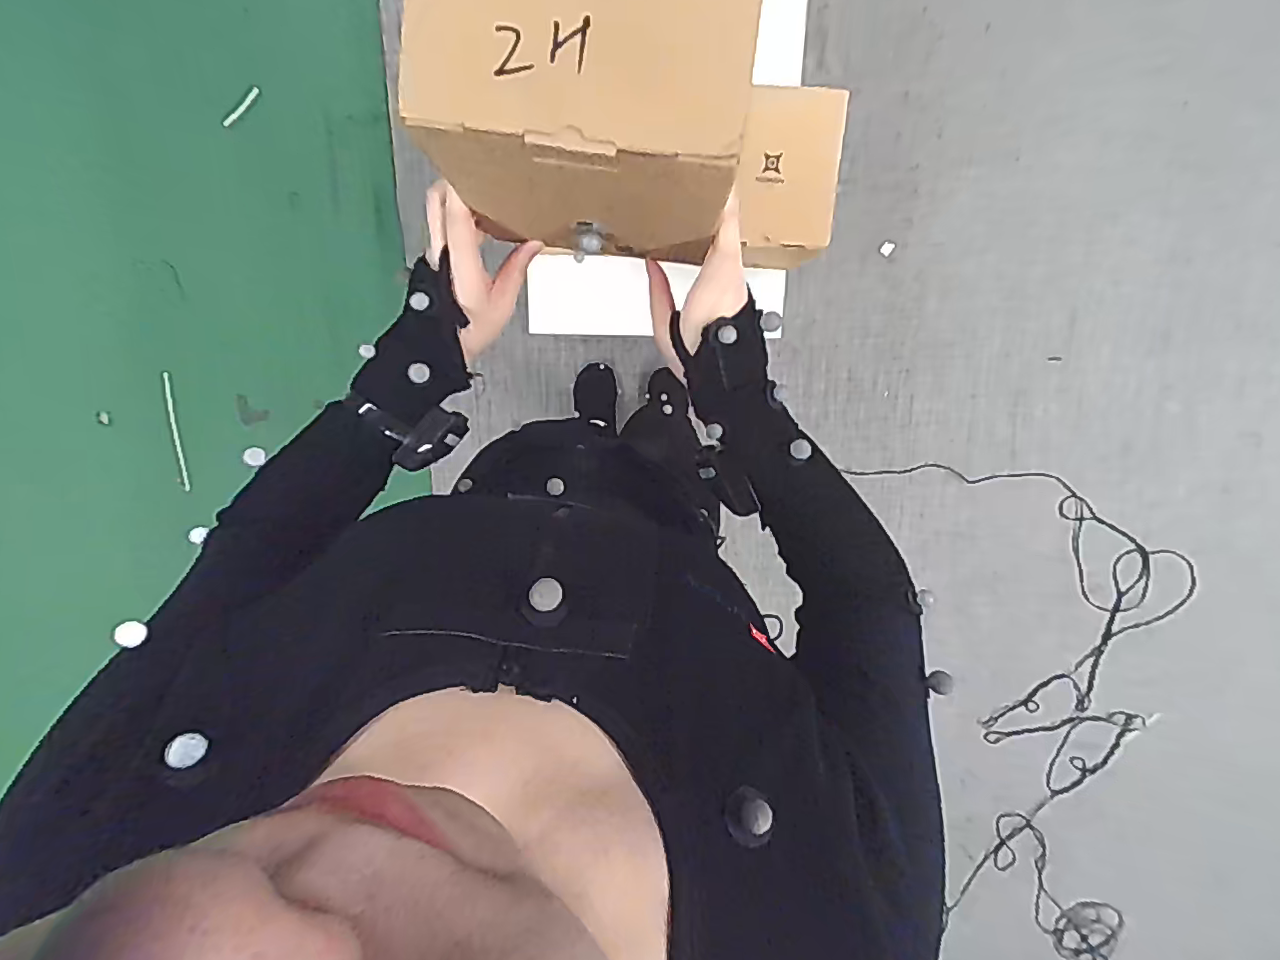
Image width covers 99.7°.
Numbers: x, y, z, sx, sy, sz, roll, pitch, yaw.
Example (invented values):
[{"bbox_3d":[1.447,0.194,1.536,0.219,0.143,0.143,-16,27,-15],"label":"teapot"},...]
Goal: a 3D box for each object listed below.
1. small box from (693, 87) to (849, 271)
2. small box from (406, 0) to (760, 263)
[{"bbox_3d":[0.157,-0.389,0.724,0.168,0.176,0.179,3,104,-2],"label":"small box"},{"bbox_3d":[-0.022,-0.257,0.335,0.168,0.176,0.179,7,96,0],"label":"small box"}]
